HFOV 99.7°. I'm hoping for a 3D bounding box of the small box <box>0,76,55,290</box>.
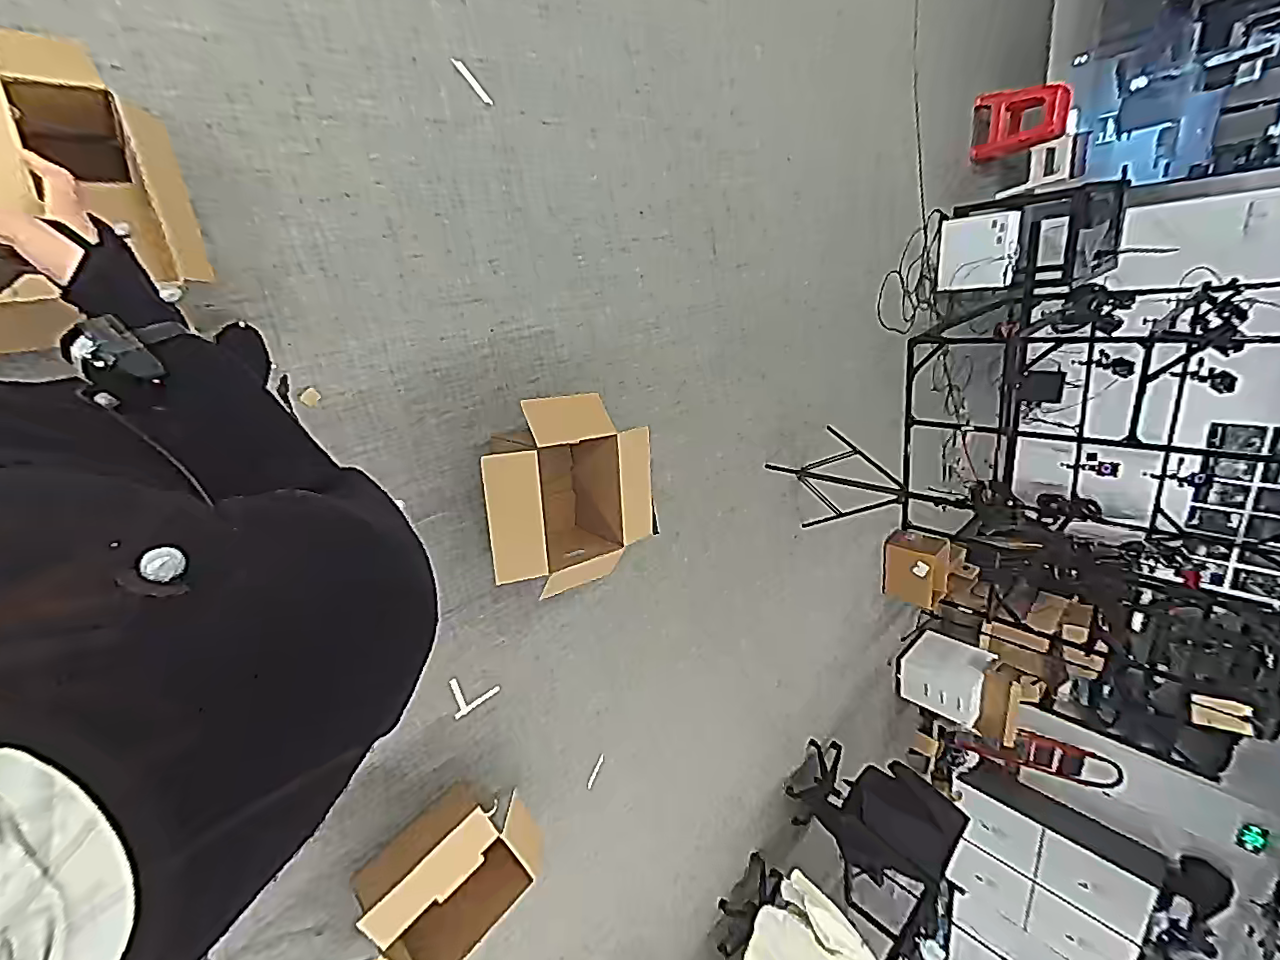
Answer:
[{"bbox_3d":[-0.621,-0.254,0.419,0.168,0.176,0.179,-25,109,-58],"label":"small box"}]
